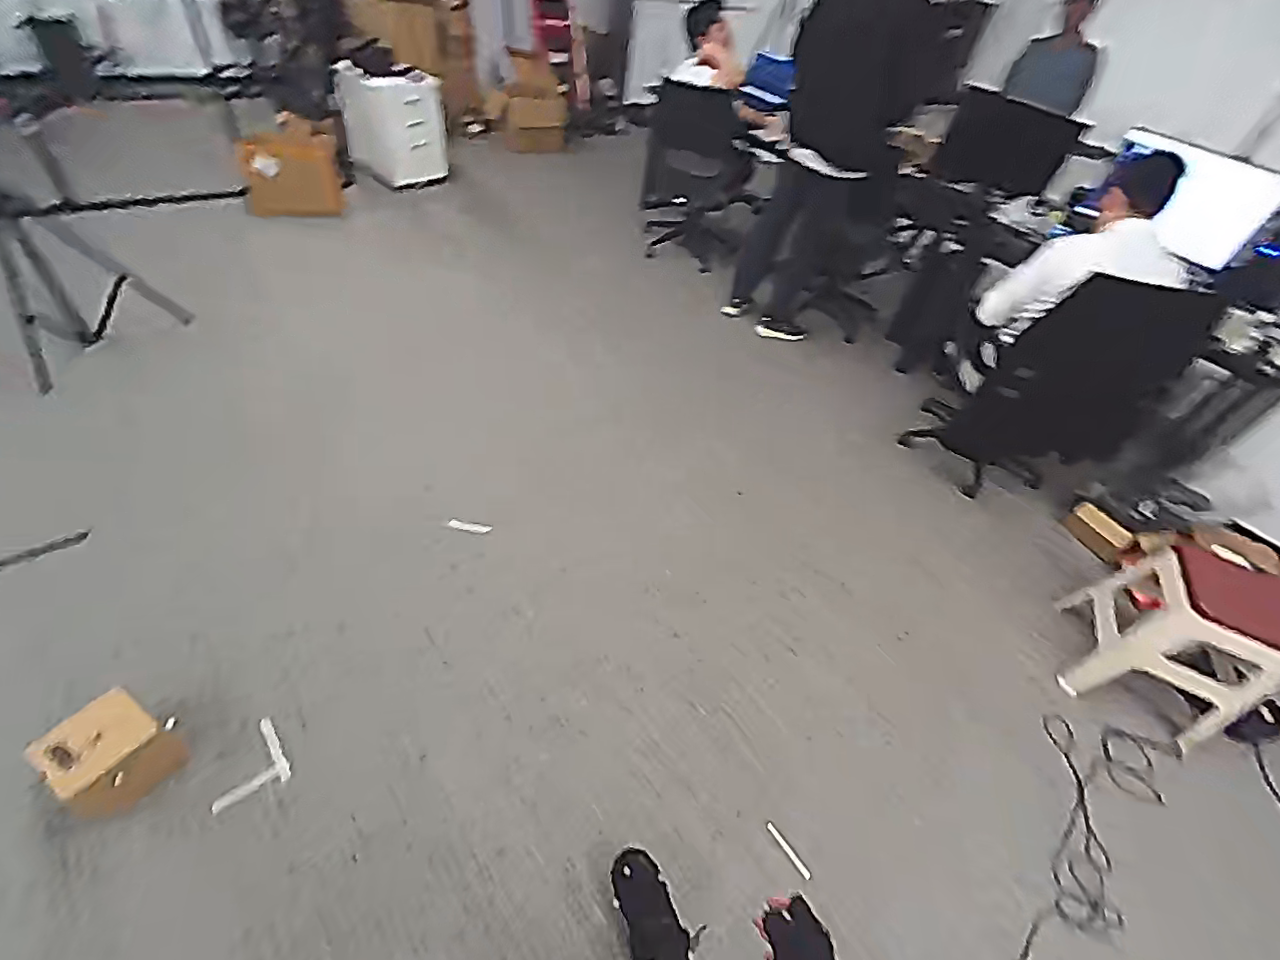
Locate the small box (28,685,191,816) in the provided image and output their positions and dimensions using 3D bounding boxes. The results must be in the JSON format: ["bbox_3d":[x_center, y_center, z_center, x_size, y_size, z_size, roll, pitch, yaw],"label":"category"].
[{"bbox_3d":[-1.167,0.605,1.203,0.168,0.176,0.179,31,48,18],"label":"small box"}]
